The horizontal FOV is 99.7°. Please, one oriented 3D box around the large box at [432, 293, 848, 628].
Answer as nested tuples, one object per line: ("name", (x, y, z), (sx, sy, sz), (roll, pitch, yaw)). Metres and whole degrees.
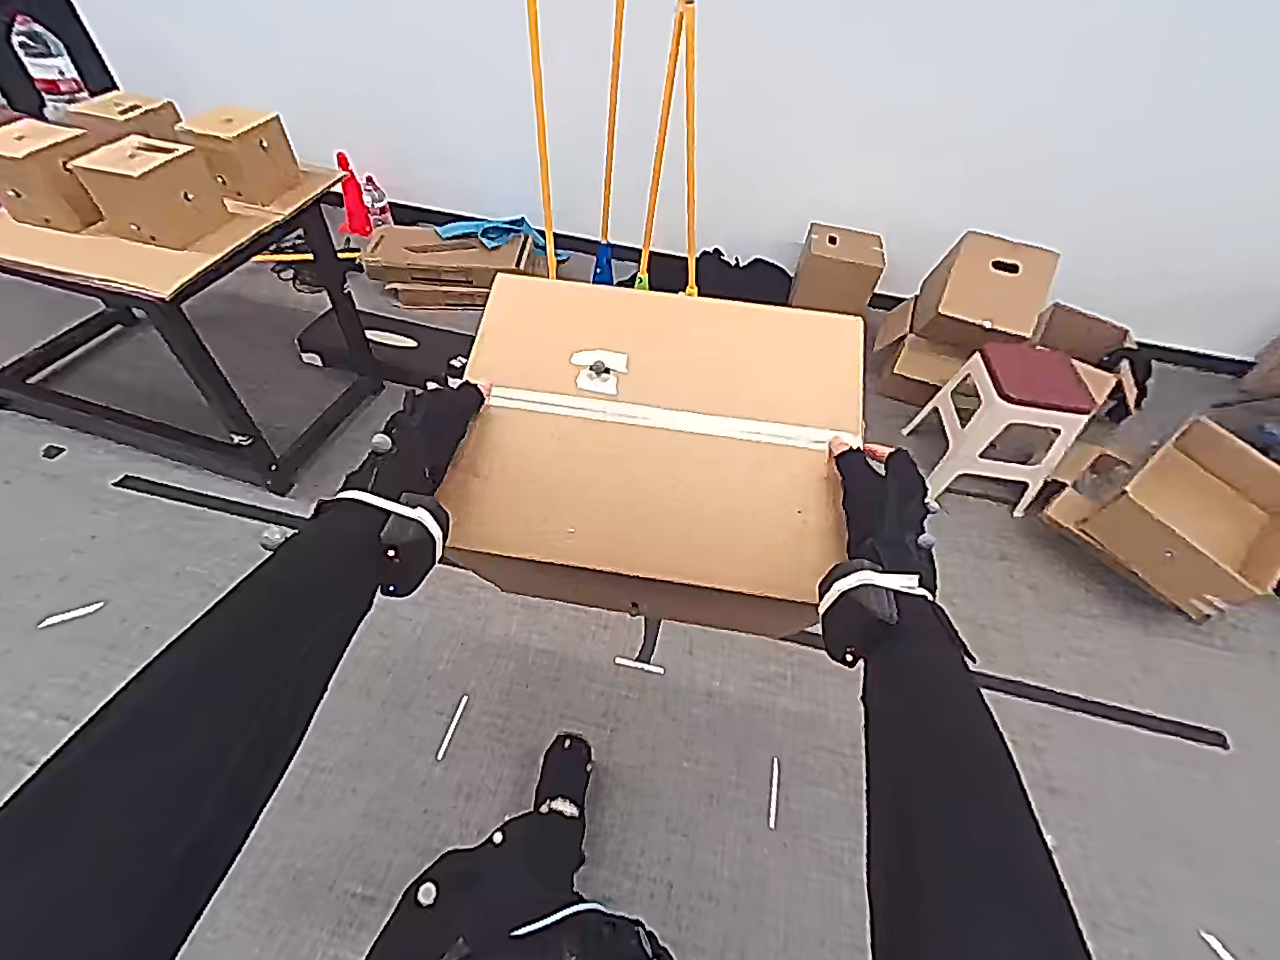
("large box", (0.019, 0.000, 0.701), (0.408, 0.320, 0.320), (8, 69, 4))
